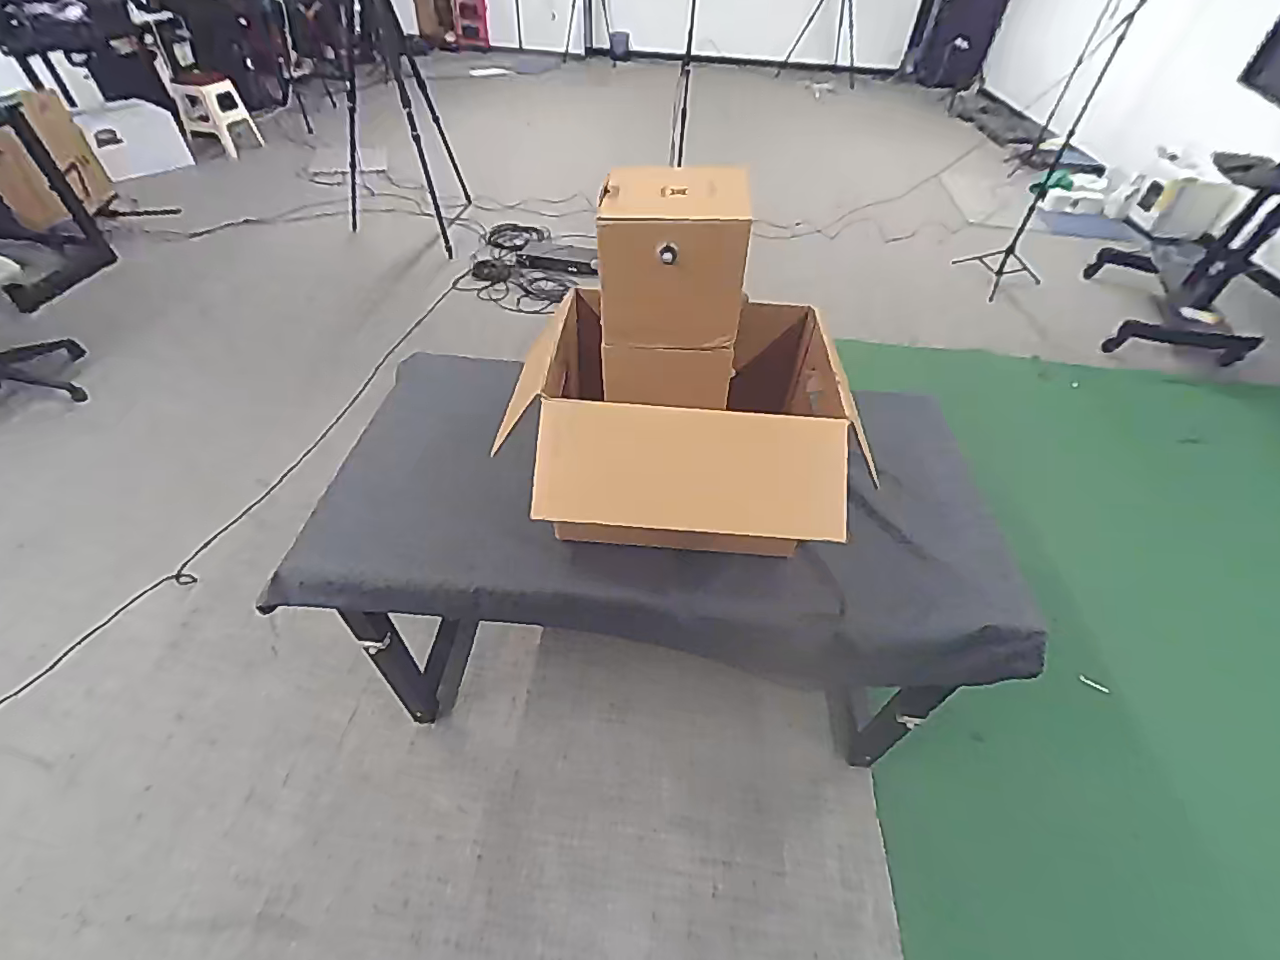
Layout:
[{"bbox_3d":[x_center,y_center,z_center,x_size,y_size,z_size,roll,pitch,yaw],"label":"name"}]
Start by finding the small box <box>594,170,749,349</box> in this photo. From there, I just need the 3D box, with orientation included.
[{"bbox_3d":[0.040,-0.288,0.711,0.179,0.176,0.168,2,48,2],"label":"small box"}]
